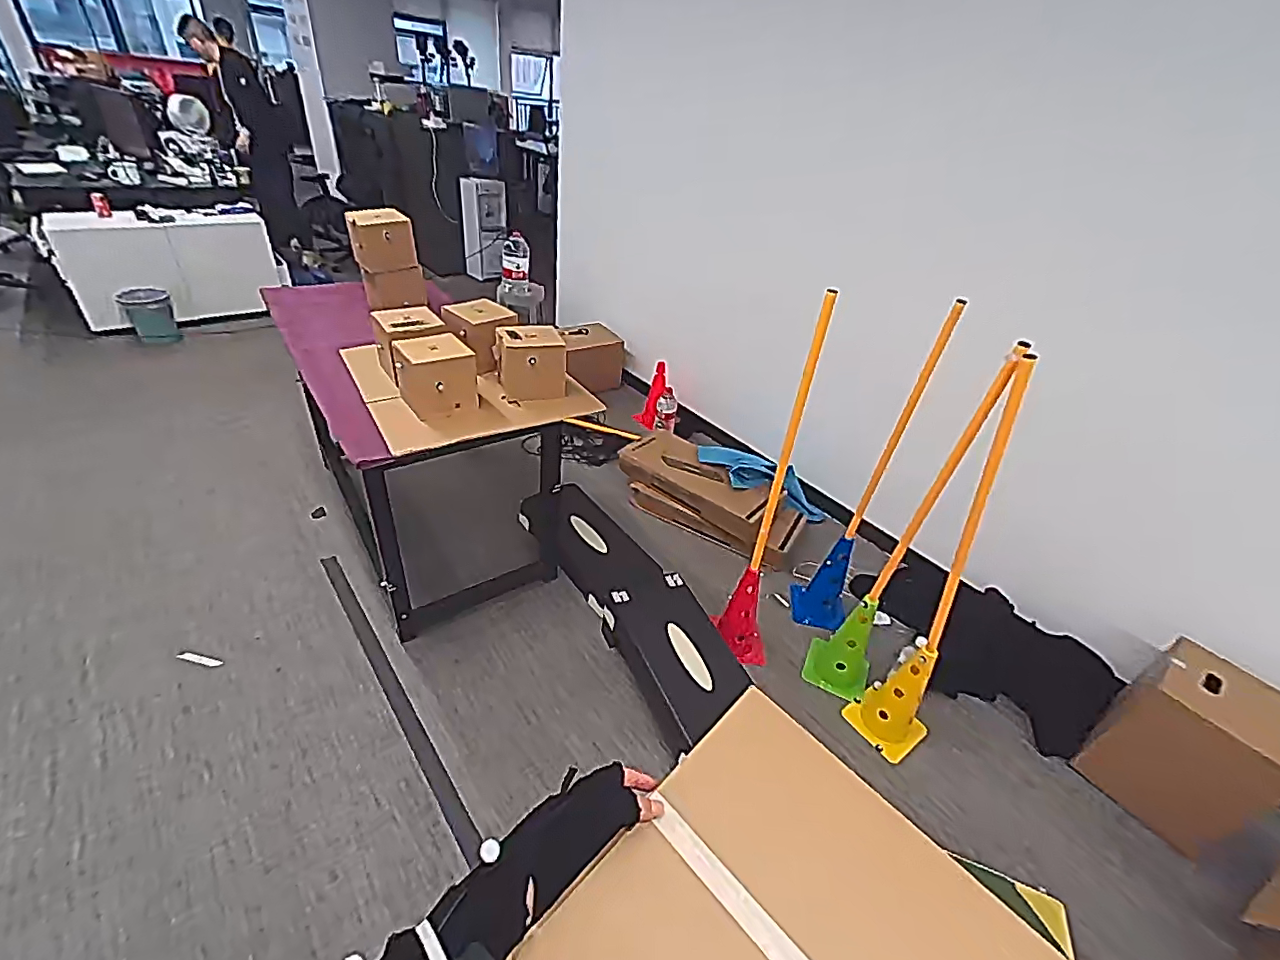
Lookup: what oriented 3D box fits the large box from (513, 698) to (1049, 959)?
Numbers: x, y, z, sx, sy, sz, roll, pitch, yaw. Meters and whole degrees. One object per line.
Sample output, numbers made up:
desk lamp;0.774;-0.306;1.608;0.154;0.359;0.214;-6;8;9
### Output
large box;0.133;0.504;0.497;0.320;0.320;0.408;-32;55;-33
